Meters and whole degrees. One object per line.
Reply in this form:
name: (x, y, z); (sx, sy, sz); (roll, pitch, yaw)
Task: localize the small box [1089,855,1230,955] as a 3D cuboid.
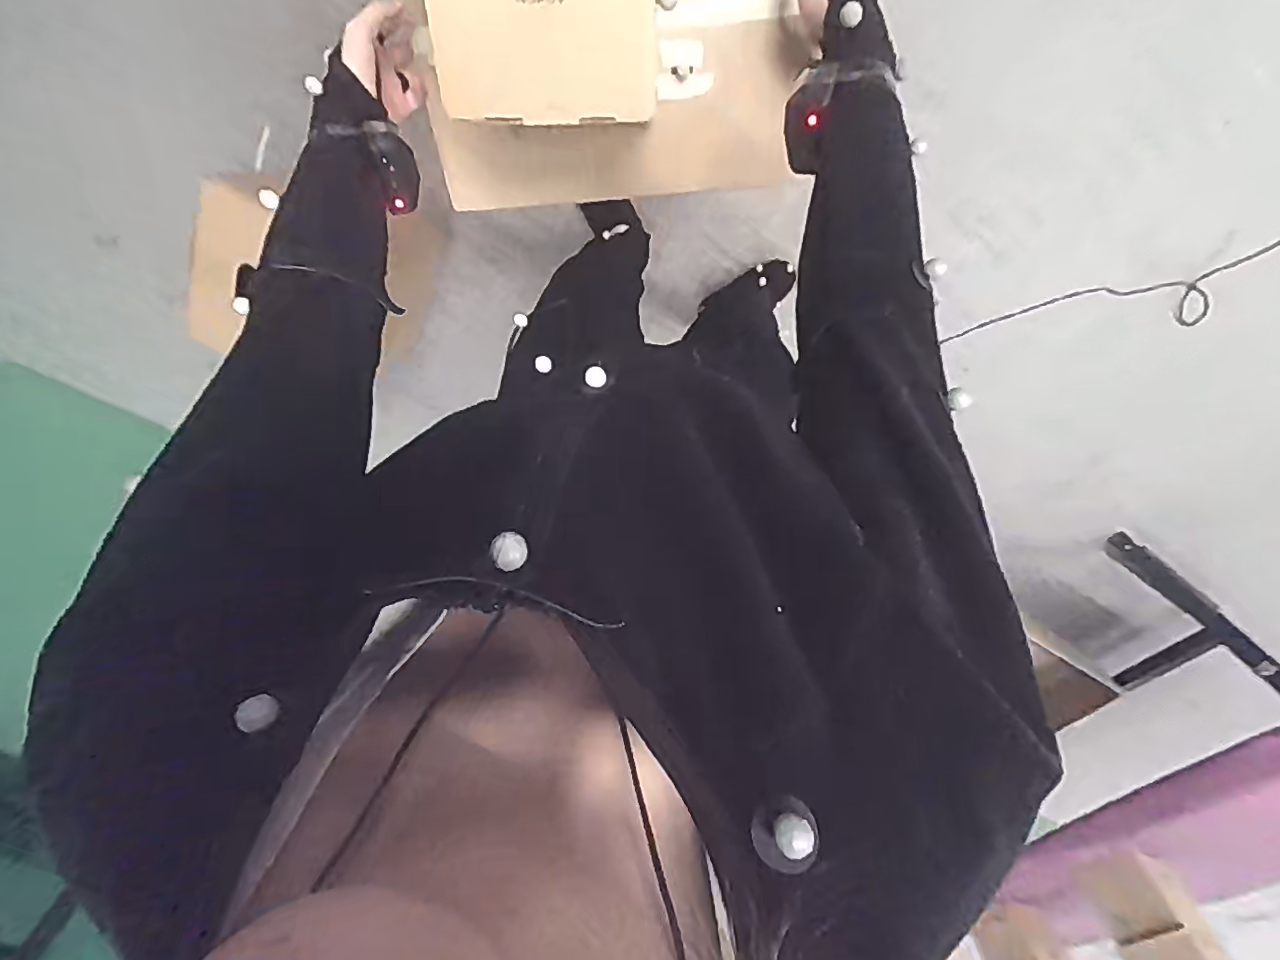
small box: (1.316, 1.105, 1.391); (0.168, 0.176, 0.179); (27, 119, -18)

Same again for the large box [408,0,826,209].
large box: (-0.024, -0.531, 0.639); (0.408, 0.320, 0.320); (-4, 126, 2)

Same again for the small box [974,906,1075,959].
small box: (1.125, 1.367, 1.563); (0.179, 0.176, 0.168); (26, 118, -17)

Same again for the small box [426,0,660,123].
small box: (-0.069, -0.395, 0.436); (0.168, 0.176, 0.179); (0, 125, 0)

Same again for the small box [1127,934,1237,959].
small box: (1.303, 1.185, 1.246); (0.168, 0.176, 0.179); (27, 119, -16)
